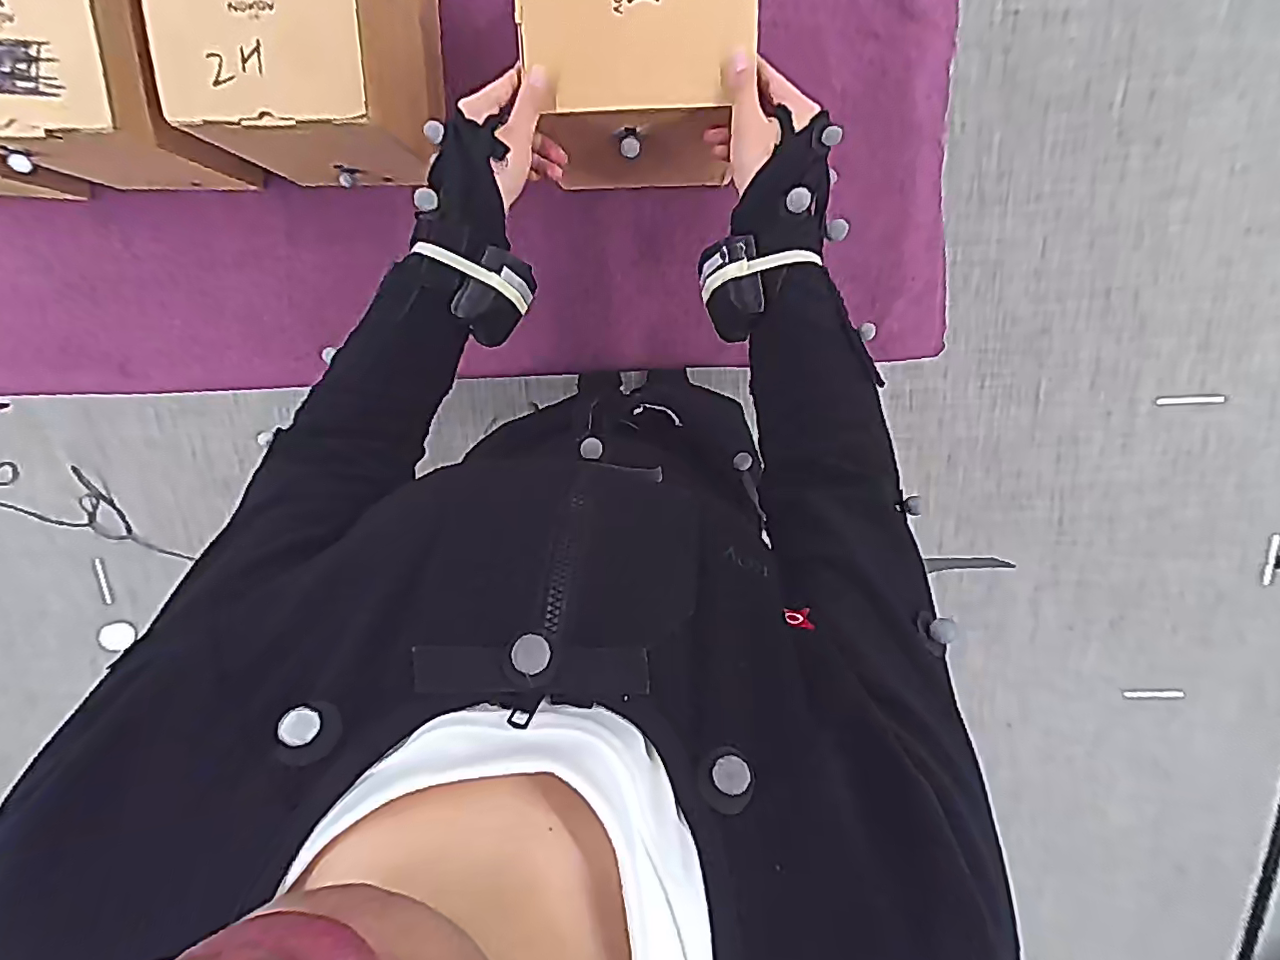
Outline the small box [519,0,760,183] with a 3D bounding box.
[{"bbox_3d":[0.003,-0.370,0.463,0.179,0.176,0.168,0,101,4],"label":"small box"}]
